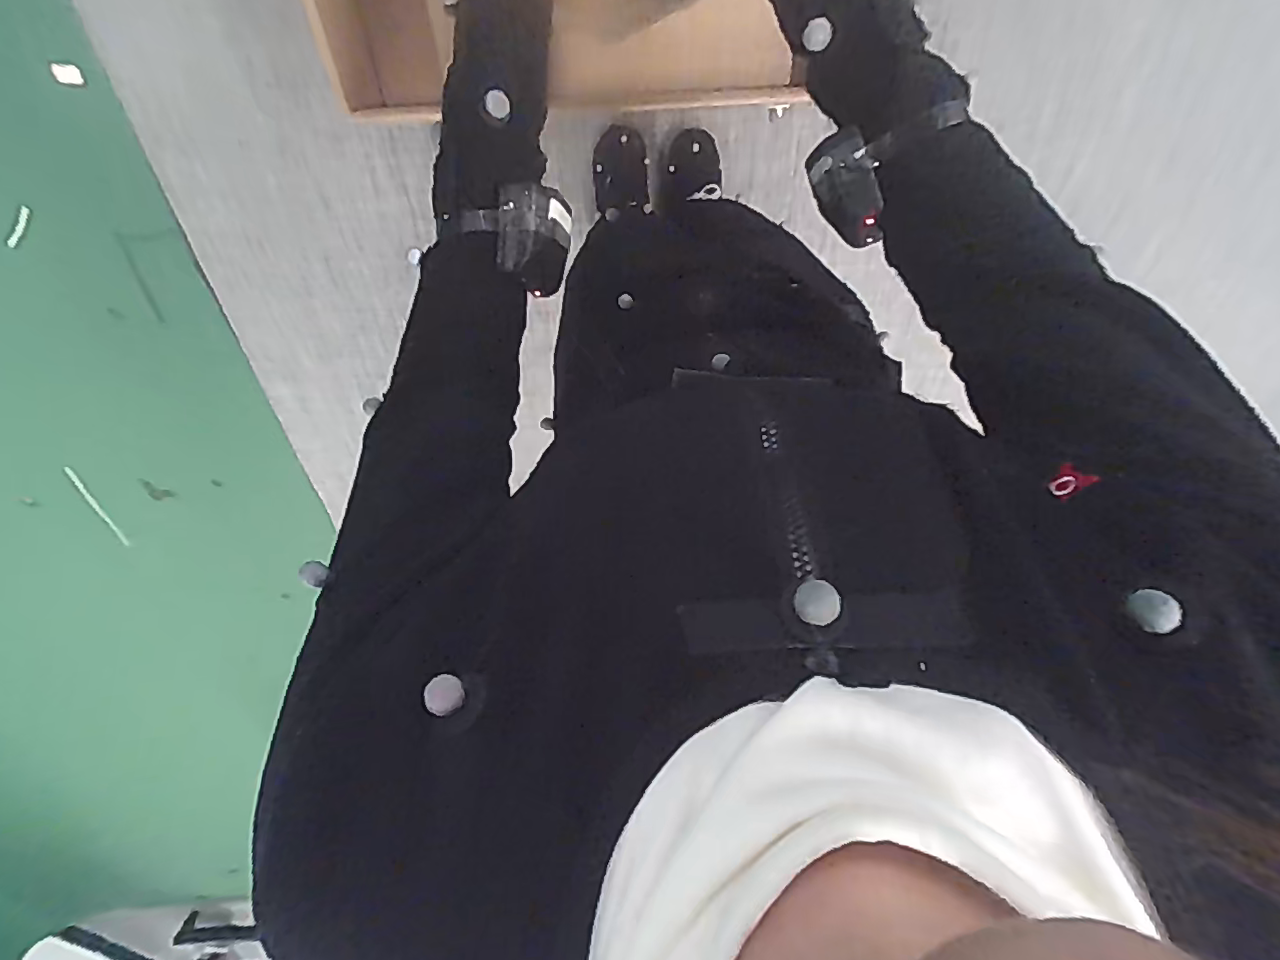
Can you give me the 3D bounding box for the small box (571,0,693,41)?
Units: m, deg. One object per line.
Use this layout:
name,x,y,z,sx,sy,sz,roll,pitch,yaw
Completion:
small box,-0.010,-0.465,0.377,0.168,0.176,0.179,-11,108,23

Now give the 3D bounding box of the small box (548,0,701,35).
small box,-0.027,-0.606,0.579,0.168,0.176,0.179,-8,127,5
